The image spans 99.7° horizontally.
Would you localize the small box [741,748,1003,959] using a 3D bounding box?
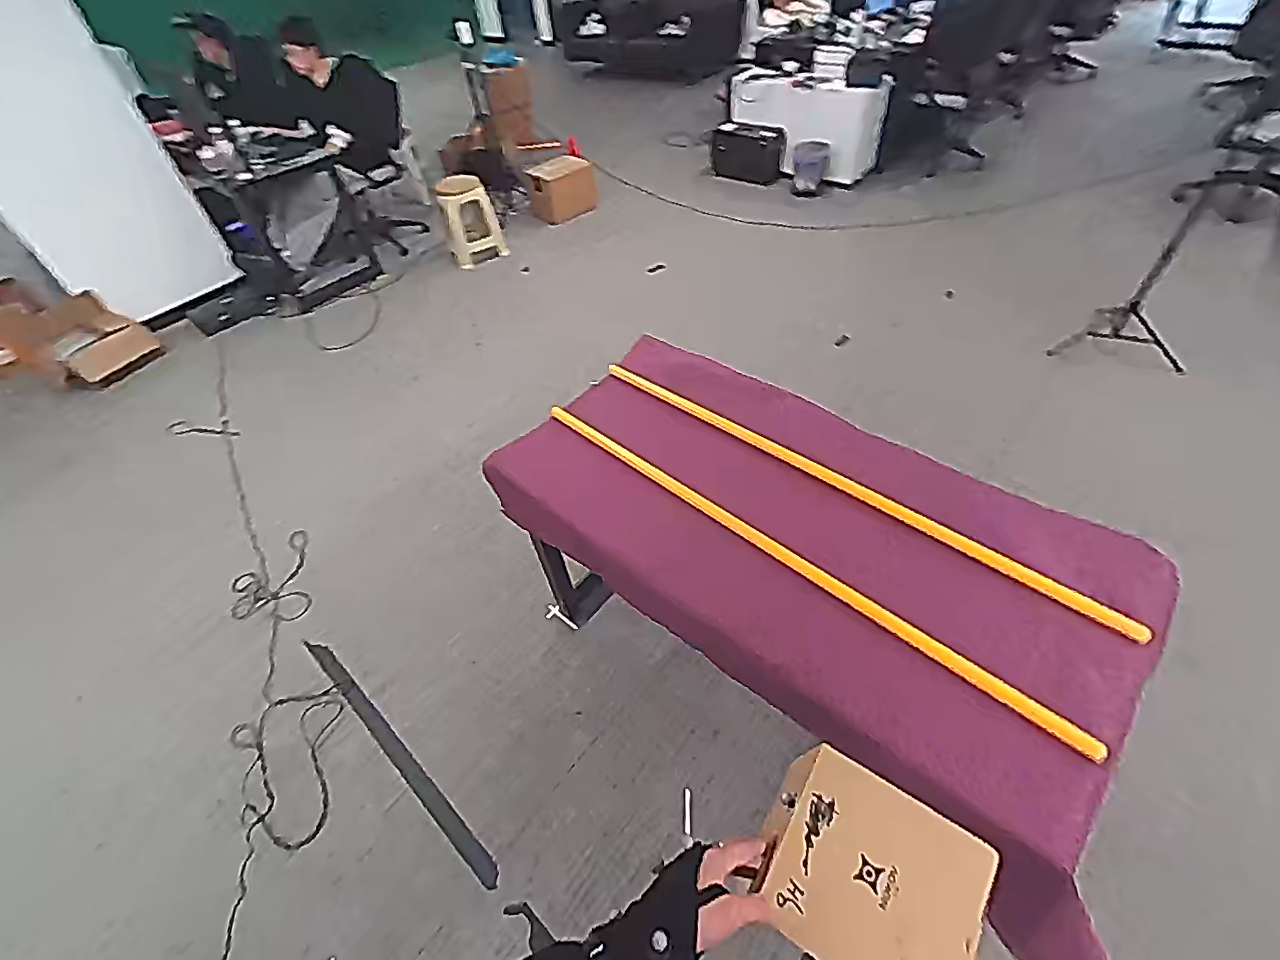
[{"bbox_3d":[0.224,0.409,0.561,0.179,0.176,0.168,28,63,19],"label":"small box"}]
